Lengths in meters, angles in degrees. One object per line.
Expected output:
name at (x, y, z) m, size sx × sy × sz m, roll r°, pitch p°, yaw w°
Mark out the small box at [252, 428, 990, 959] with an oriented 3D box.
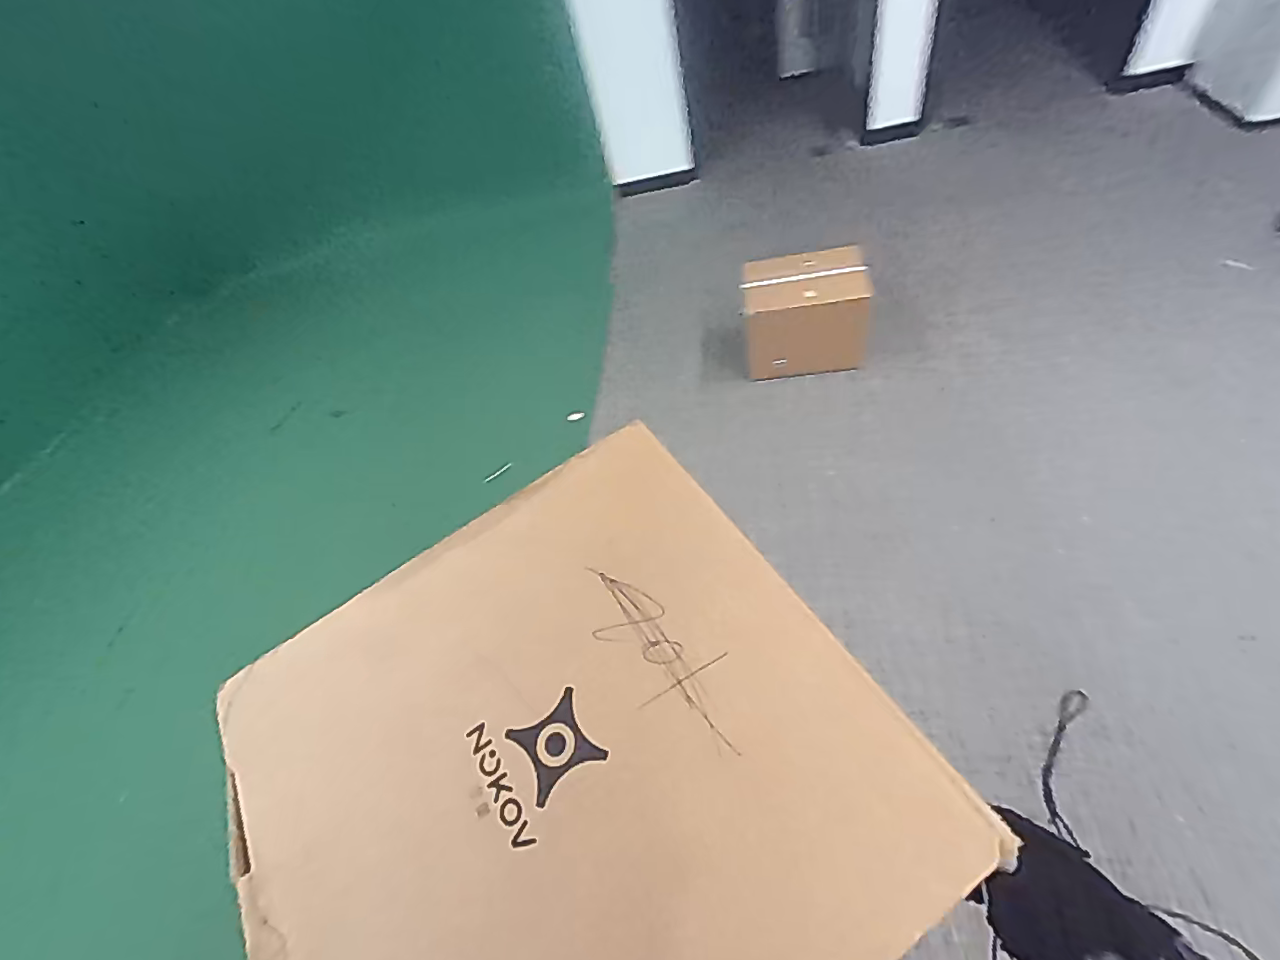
small box at (-0.010, 0.119, 0.231) m, size 0.179 × 0.176 × 0.168 m, roll -32°, pitch 60°, yaw -10°
